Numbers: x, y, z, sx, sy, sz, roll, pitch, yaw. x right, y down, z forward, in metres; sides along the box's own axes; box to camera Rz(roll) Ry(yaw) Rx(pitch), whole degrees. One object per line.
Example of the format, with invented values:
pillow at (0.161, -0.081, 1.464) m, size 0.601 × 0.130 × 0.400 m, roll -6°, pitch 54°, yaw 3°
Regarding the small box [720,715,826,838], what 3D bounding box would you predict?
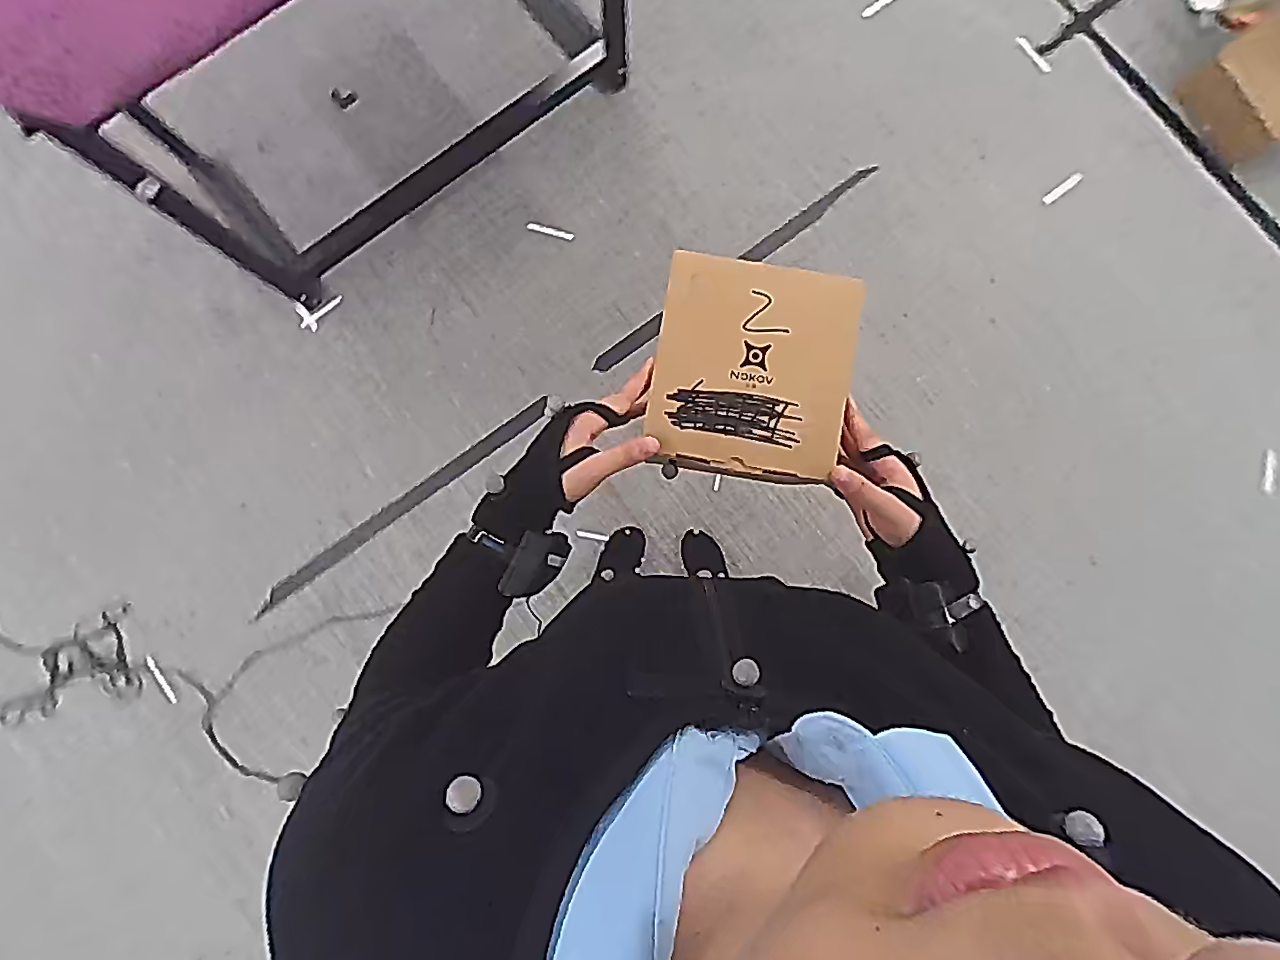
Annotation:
small box at (0.319, 0.717, 1.330) m, size 0.168 × 0.176 × 0.179 m, roll -33°, pitch 85°, yaw -5°
